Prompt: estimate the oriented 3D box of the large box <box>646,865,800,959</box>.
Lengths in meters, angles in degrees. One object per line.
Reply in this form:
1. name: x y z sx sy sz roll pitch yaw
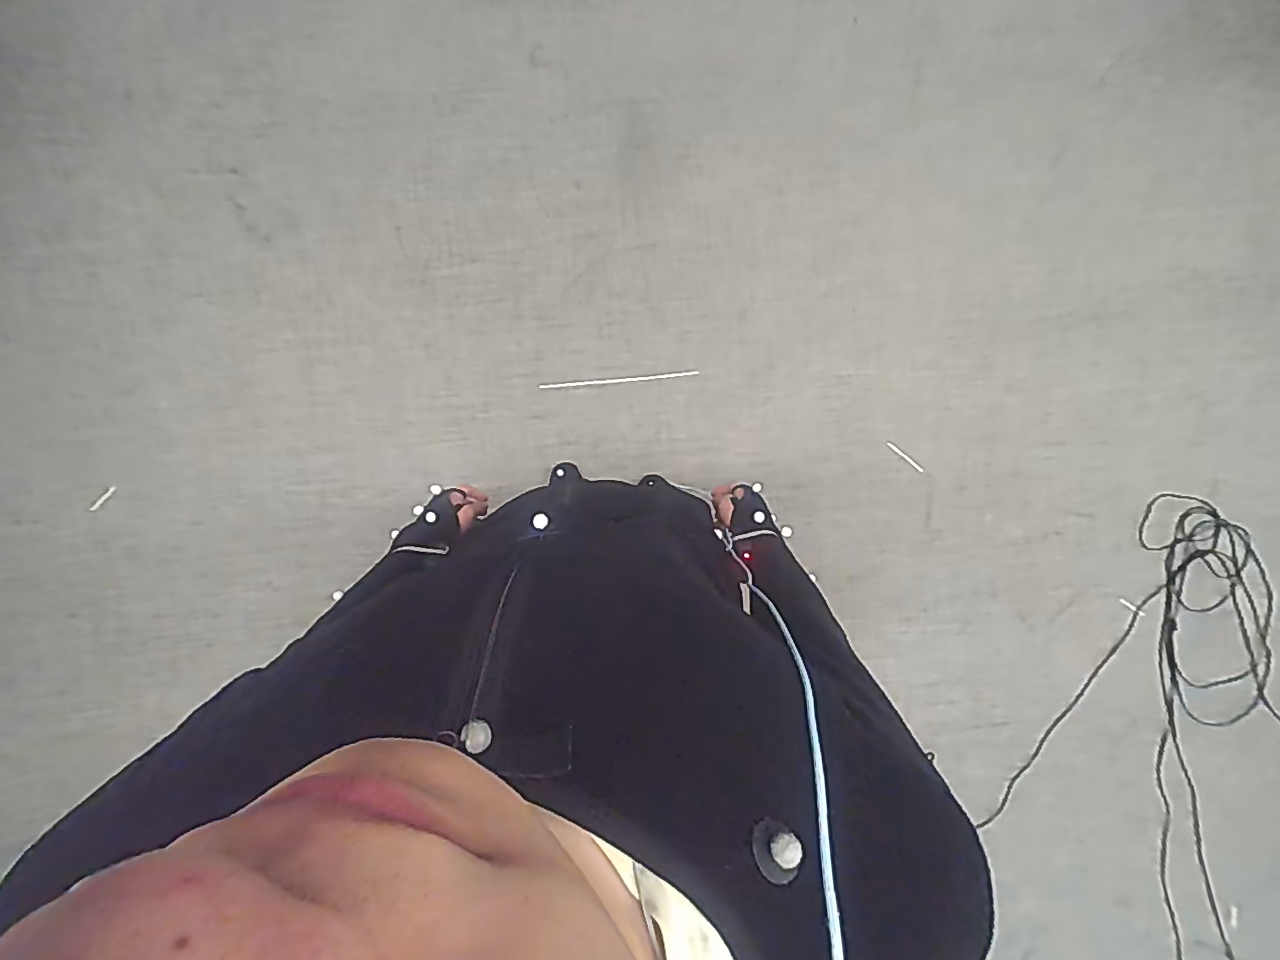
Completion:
1. large box: 0.237 1.389 1.557 0.408 0.320 0.320 -7 92 -1
